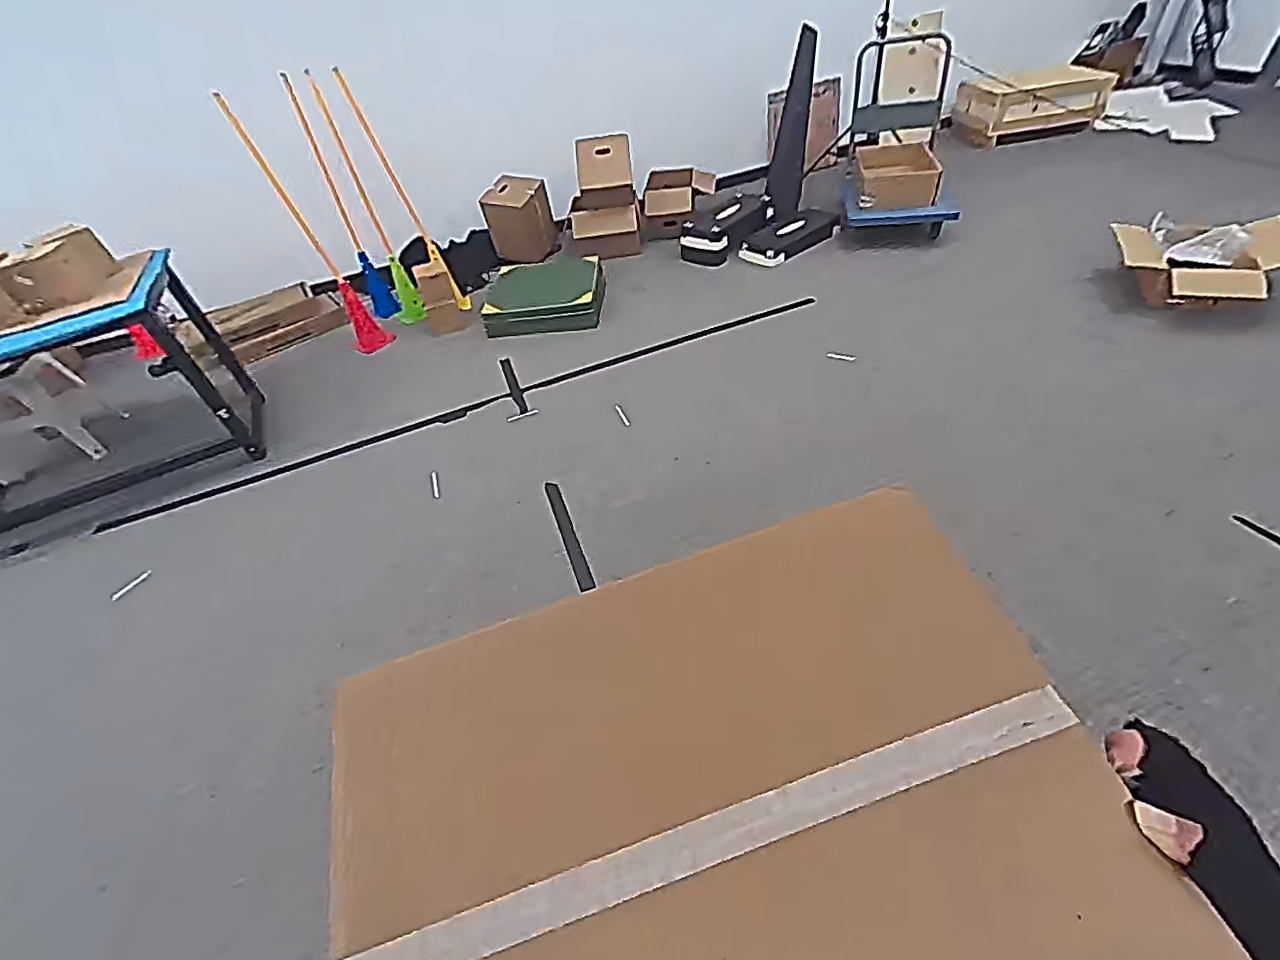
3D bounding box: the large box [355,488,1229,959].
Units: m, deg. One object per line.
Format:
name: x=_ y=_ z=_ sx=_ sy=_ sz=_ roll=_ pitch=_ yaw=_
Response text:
large box: x=0.059 y=0.269 z=0.418 sx=0.408 sy=0.320 sz=0.320 roll=-19 pitch=58 yaw=-3
